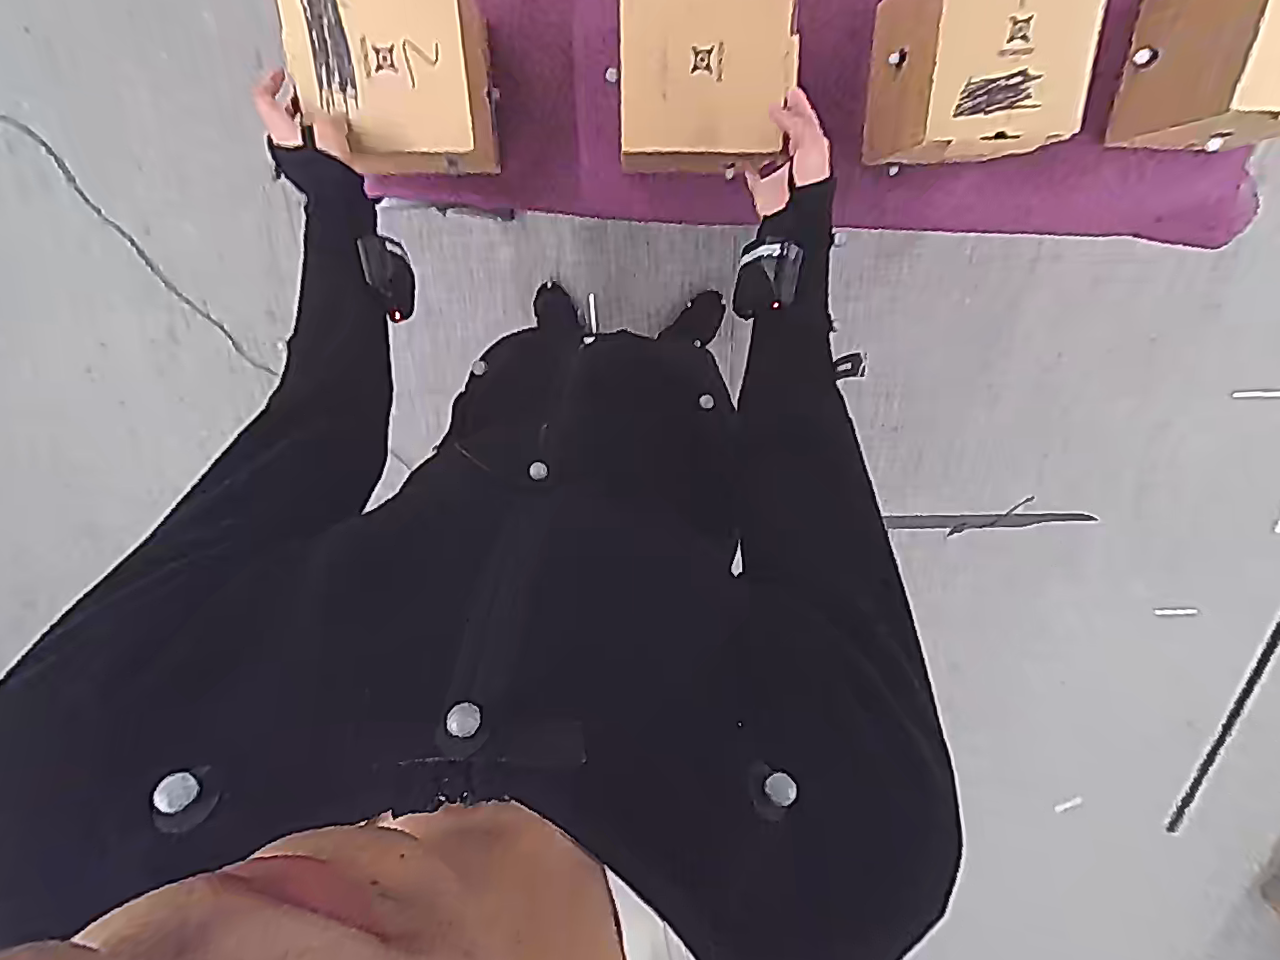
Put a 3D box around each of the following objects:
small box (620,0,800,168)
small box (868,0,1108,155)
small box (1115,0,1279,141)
[{"bbox_3d":[0.067,-0.463,0.615,0.179,0.176,0.168,0,112,-2],"label":"small box"},{"bbox_3d":[0.377,-0.479,0.614,0.168,0.176,0.179,-2,112,0],"label":"small box"},{"bbox_3d":[0.699,-0.499,0.610,0.168,0.176,0.179,1,111,-1],"label":"small box"}]
